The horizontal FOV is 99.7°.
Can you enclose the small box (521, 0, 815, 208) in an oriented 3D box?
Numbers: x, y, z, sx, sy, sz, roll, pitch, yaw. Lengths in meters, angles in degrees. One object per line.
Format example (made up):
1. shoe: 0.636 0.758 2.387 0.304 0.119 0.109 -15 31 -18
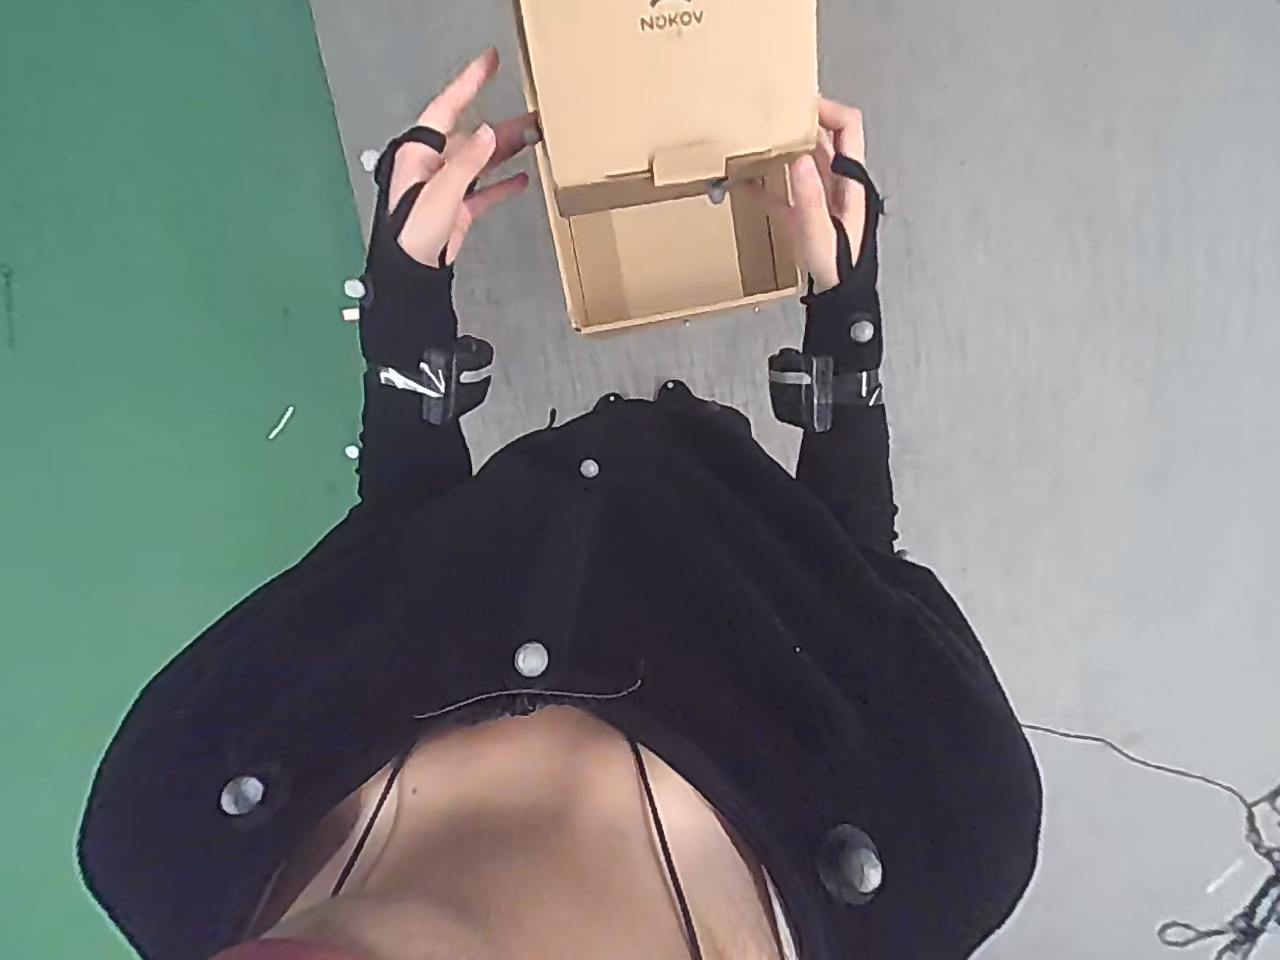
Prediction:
1. small box: 0.008 -0.295 0.373 0.168 0.176 0.179 -10 111 -4
